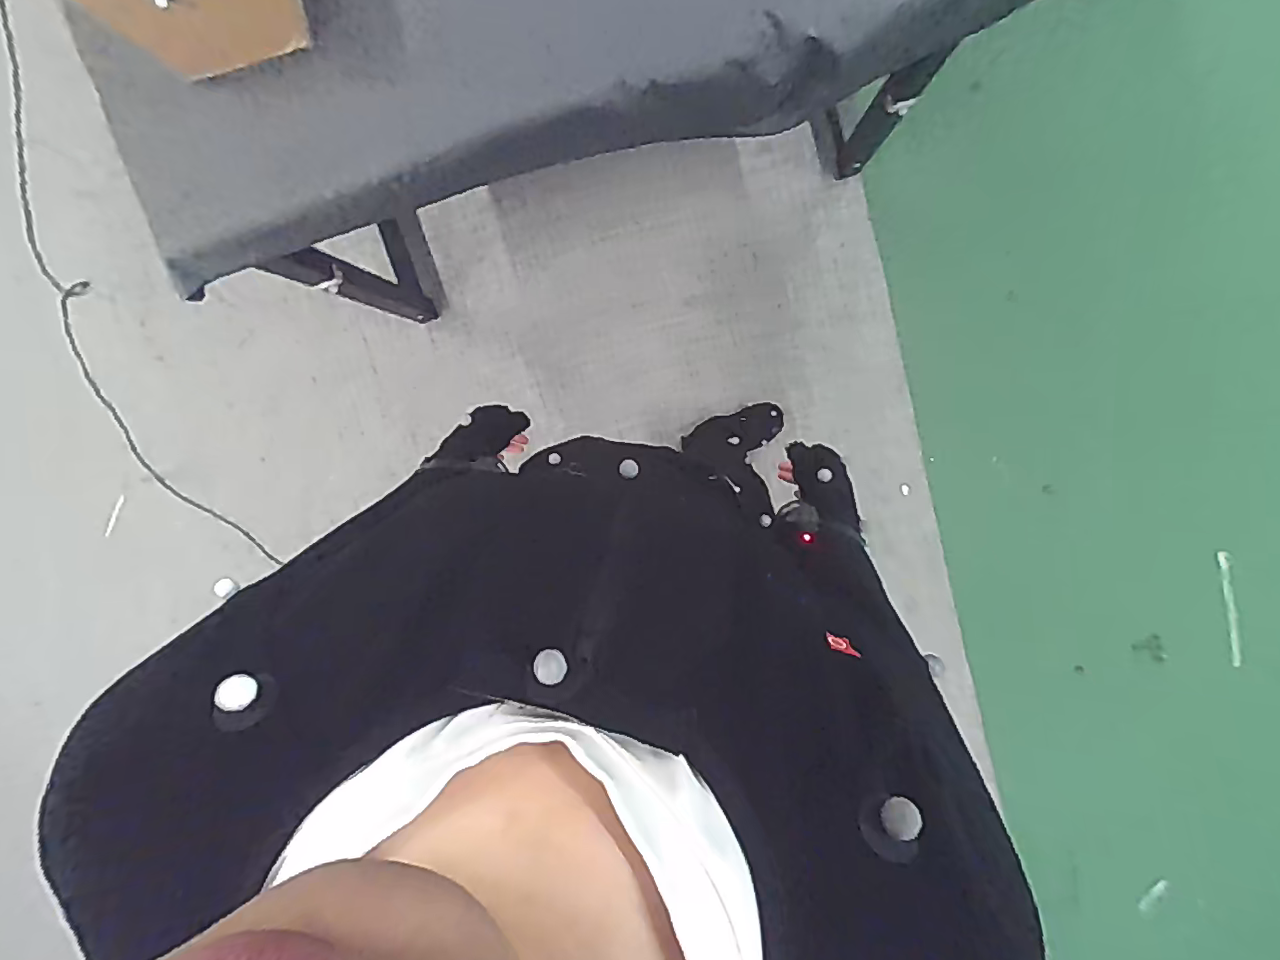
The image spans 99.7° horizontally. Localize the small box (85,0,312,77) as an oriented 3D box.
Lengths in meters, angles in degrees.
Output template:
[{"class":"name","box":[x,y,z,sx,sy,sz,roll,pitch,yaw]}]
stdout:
[{"class":"small box","box":[-0.513,-0.593,0.598,0.179,0.176,0.168,-13,98,3]}]
